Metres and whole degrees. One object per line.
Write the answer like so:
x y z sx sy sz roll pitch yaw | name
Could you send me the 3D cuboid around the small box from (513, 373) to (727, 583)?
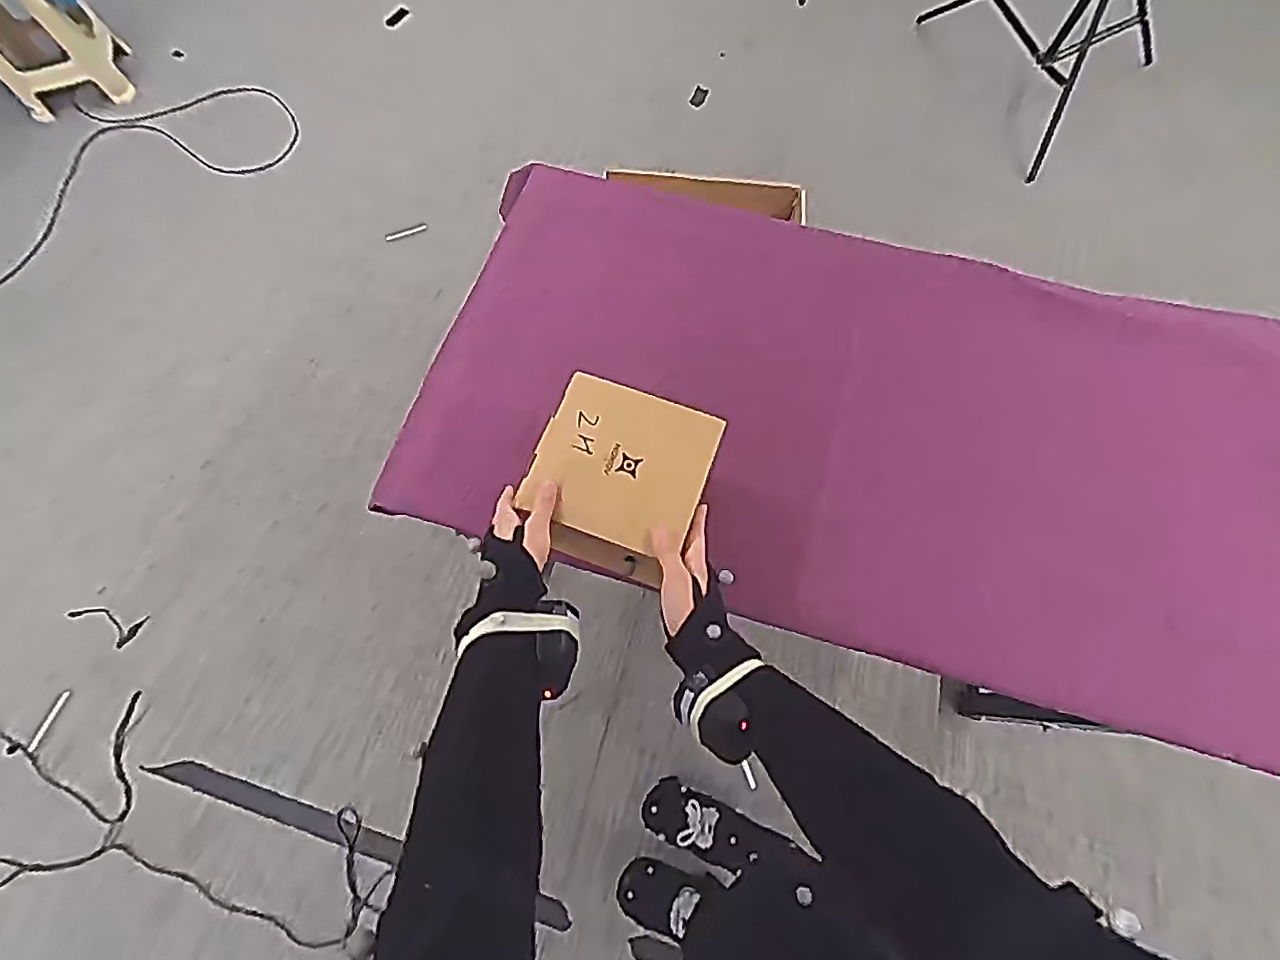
-0.017 0.010 0.624 0.179 0.176 0.168 20 71 7 | small box
